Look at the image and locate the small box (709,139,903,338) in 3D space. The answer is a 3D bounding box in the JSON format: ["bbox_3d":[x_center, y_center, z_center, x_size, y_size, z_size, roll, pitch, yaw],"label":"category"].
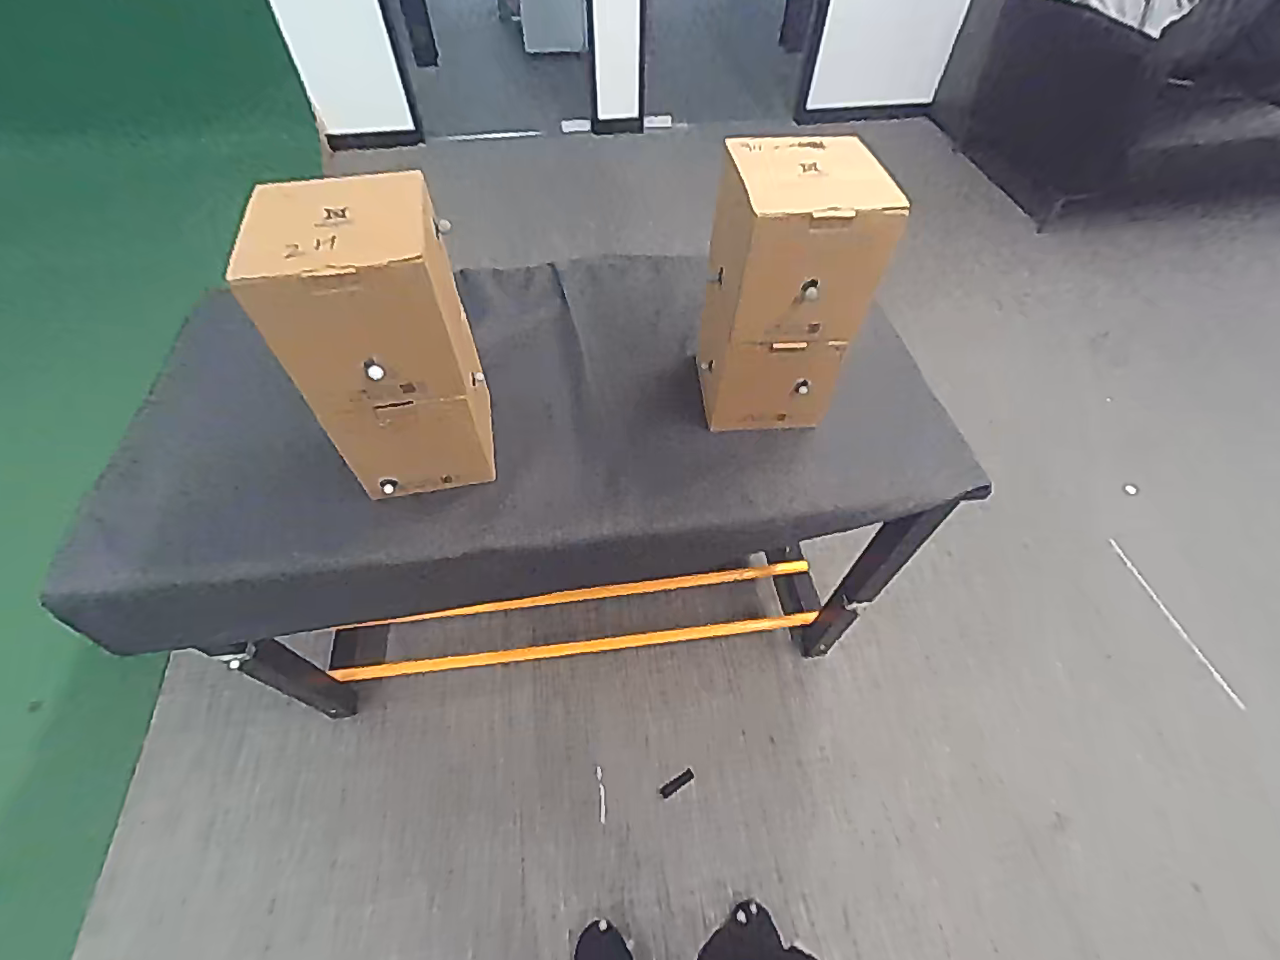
[{"bbox_3d":[0.184,-0.289,0.664,0.168,0.176,0.179,-3,54,-4],"label":"small box"}]

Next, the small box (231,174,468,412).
[{"bbox_3d":[-0.292,-0.200,0.586,0.168,0.176,0.179,-11,55,-9],"label":"small box"}]

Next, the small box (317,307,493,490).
[{"bbox_3d":[-0.295,-0.101,0.718,0.168,0.176,0.179,-9,54,-8],"label":"small box"}]

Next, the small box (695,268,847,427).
[{"bbox_3d":[0.178,-0.191,0.795,0.168,0.176,0.179,-2,53,-4],"label":"small box"}]
